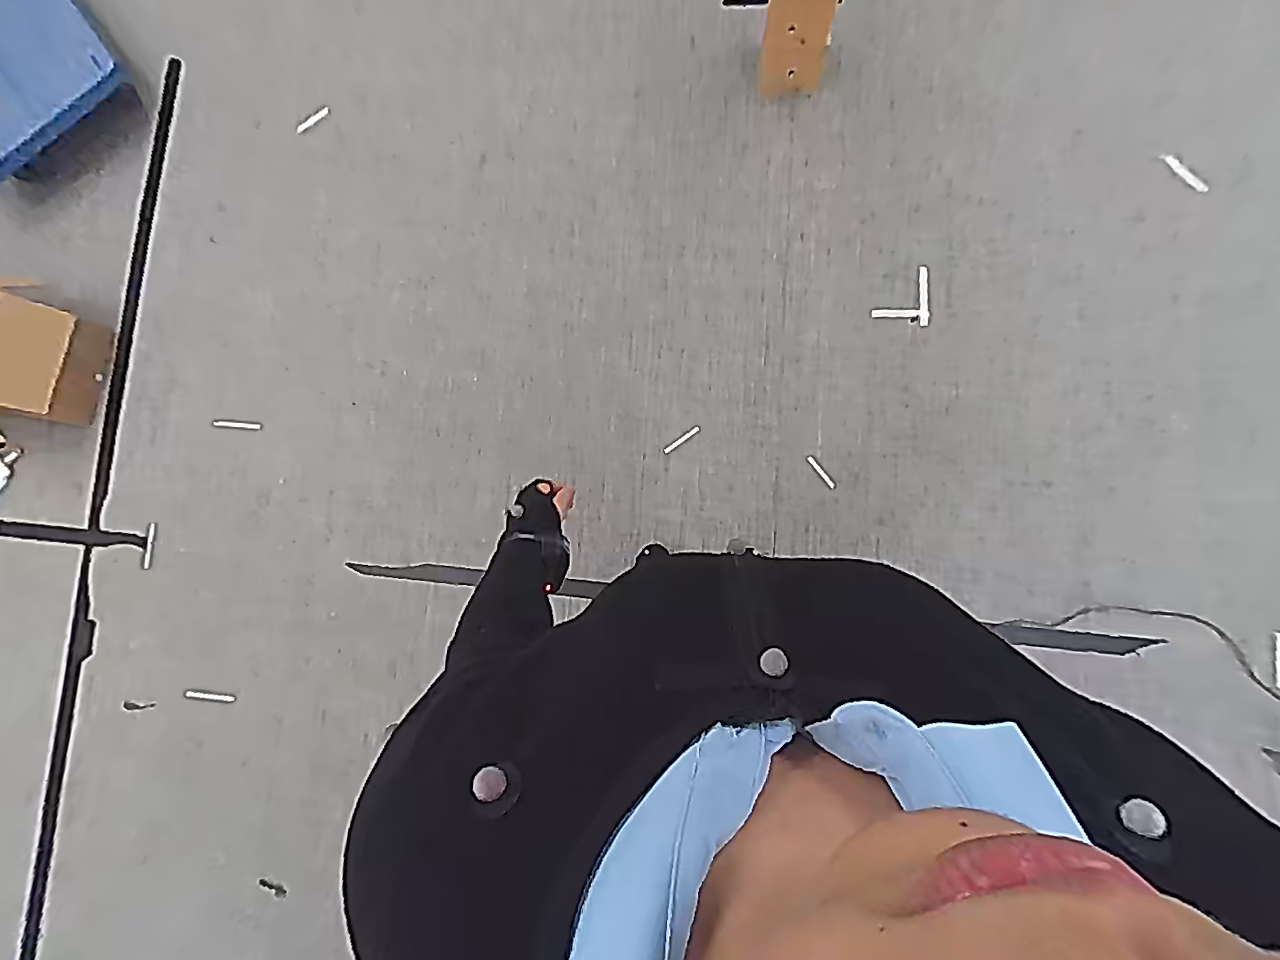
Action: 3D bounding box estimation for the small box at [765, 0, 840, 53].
[{"bbox_3d":[0.426,-1.260,1.394,0.168,0.176,0.179,9,86,6],"label":"small box"}]

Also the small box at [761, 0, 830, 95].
[{"bbox_3d":[0.445,-1.247,1.555,0.168,0.176,0.179,2,84,4],"label":"small box"}]
